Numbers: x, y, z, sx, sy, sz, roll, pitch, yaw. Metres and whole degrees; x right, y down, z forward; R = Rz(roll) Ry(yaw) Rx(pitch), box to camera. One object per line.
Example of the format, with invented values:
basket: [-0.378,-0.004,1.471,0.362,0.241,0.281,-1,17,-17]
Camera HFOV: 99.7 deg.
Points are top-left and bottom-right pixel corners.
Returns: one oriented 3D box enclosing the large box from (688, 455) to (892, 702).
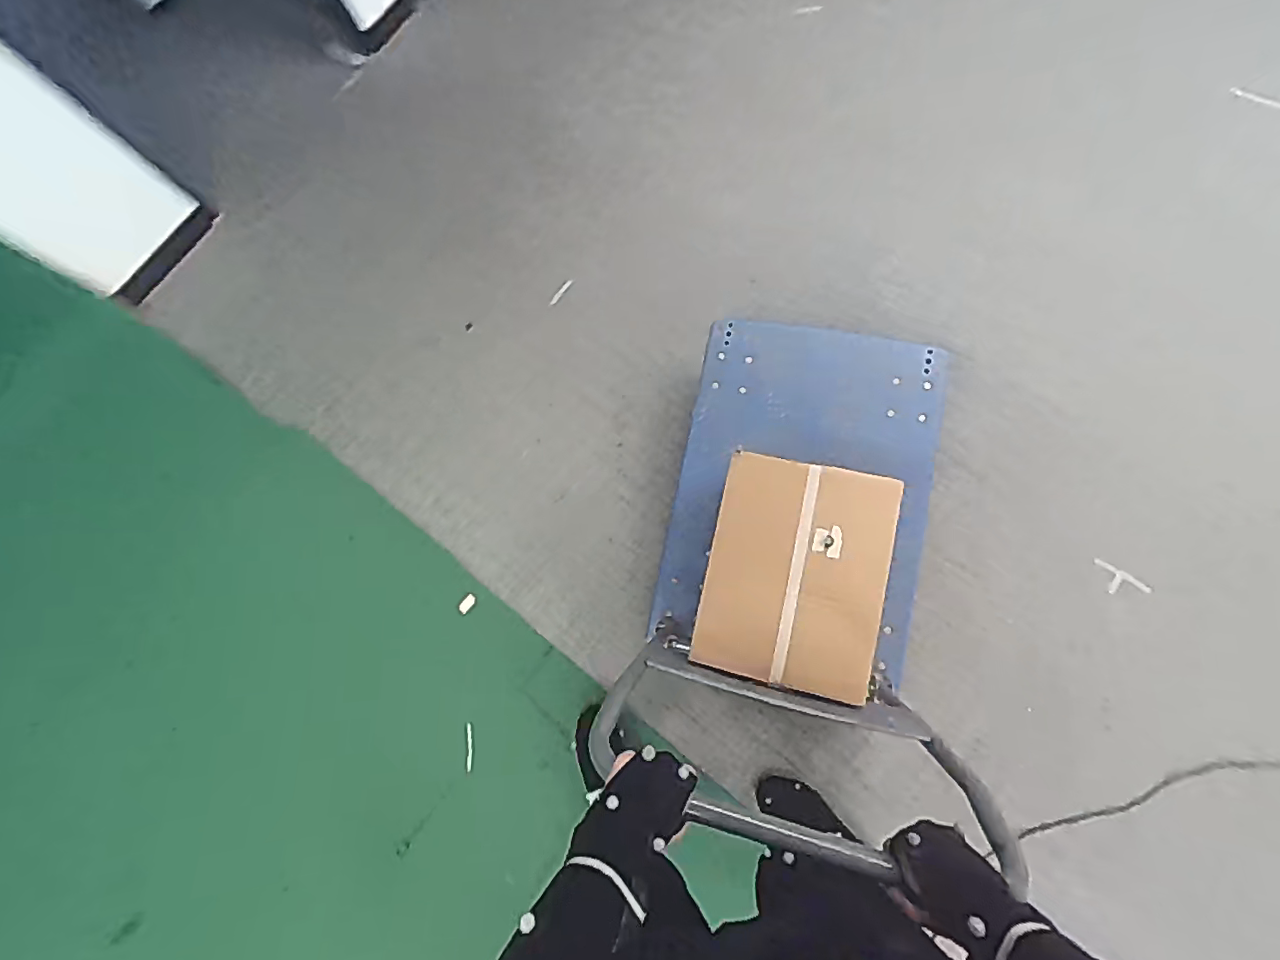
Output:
large box: [0.305,0.198,1.145,0.320,0.320,0.408,12,82,12]
